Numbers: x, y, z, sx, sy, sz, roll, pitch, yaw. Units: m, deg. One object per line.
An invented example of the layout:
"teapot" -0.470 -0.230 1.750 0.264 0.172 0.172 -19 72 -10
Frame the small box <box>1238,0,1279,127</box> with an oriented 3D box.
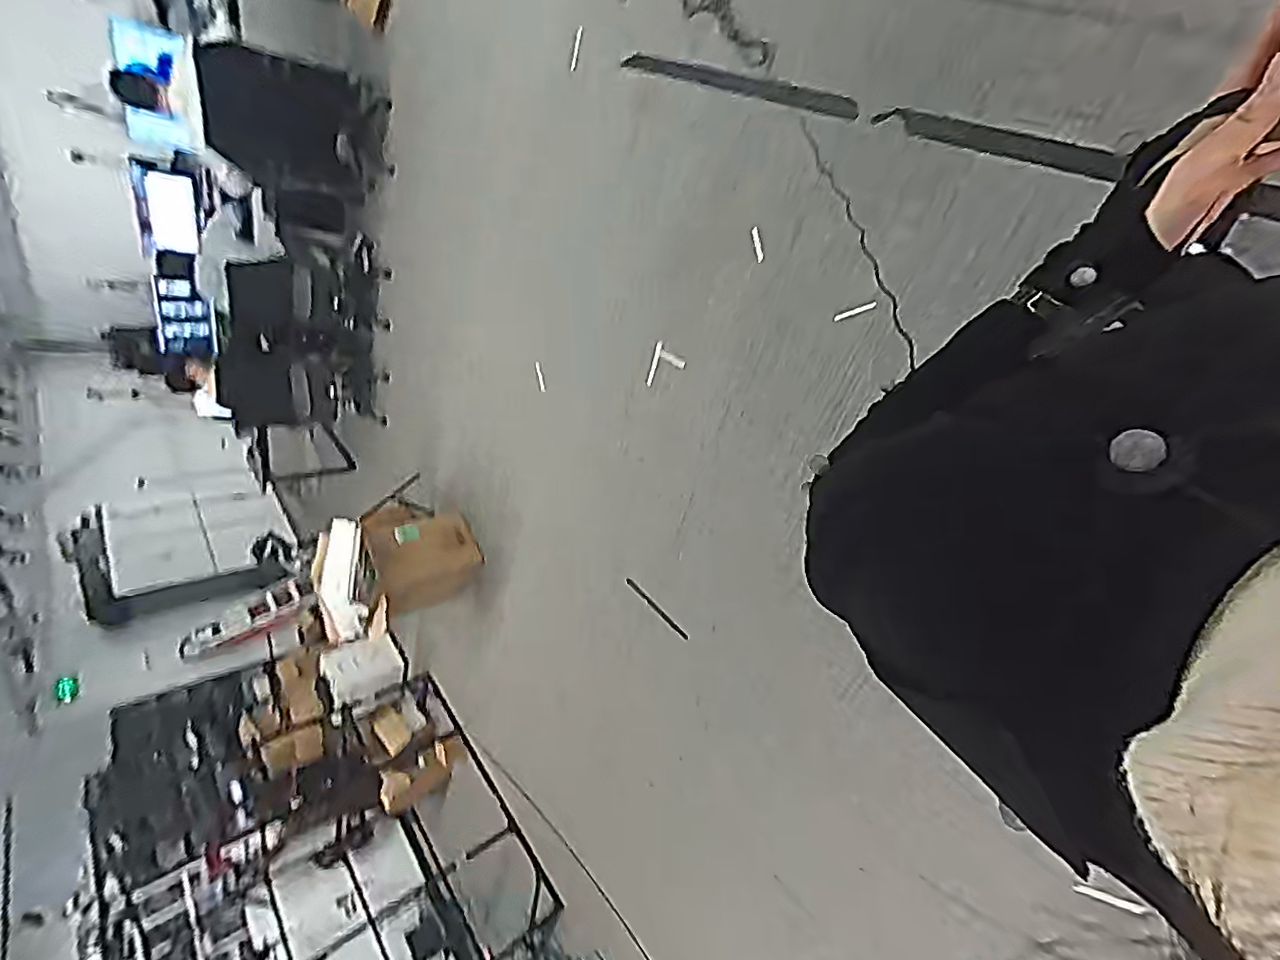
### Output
"small box" 0.368 -0.259 0.197 0.168 0.176 0.179 14 102 38
